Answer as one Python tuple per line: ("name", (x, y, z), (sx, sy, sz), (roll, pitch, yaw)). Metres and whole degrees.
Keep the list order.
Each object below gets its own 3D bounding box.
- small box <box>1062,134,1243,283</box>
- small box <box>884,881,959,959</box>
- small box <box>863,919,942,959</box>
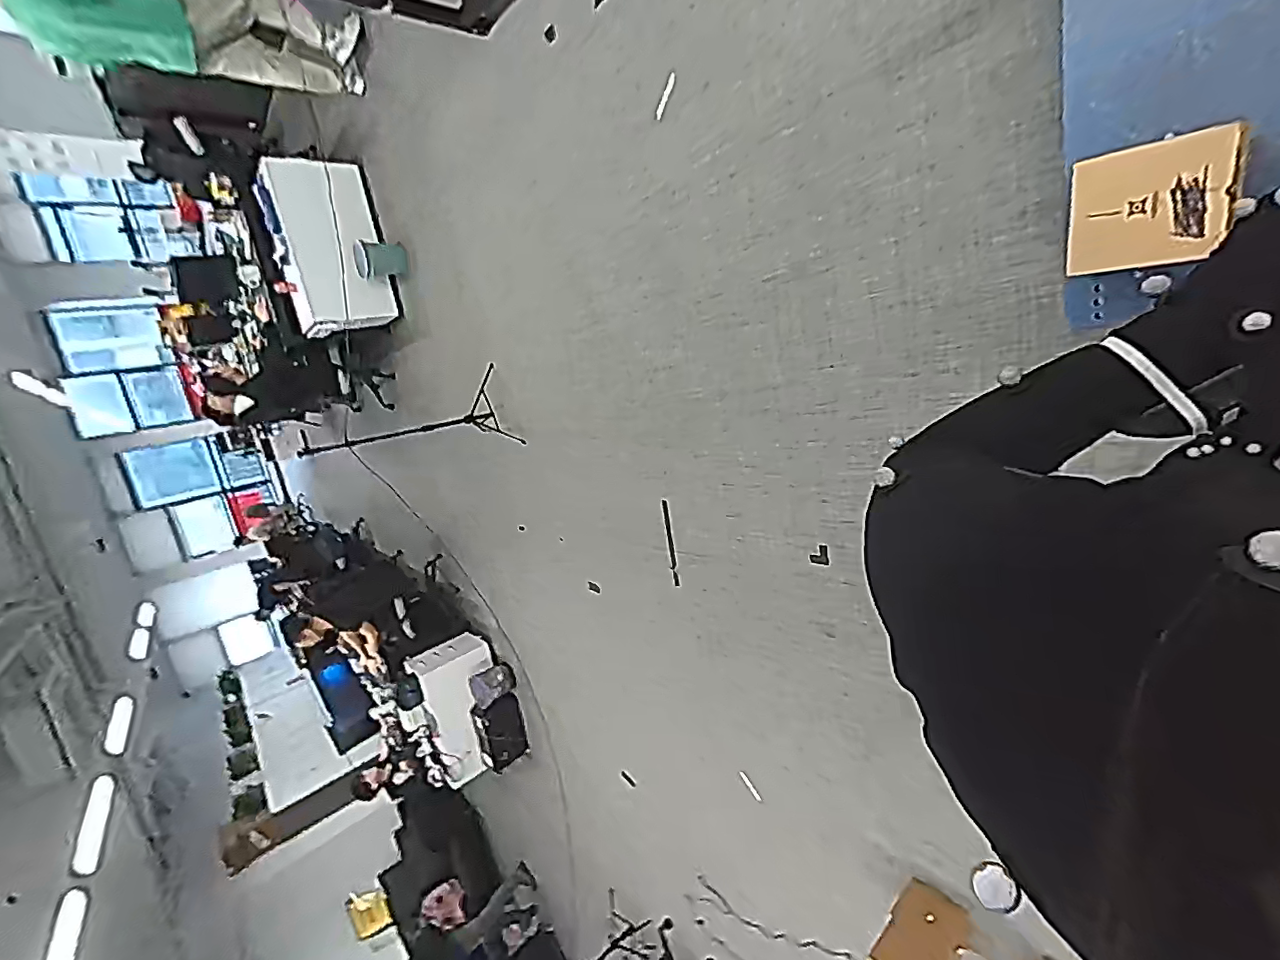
("small box", (0.782, -0.404, 0.829), (0.179, 0.176, 0.168), (11, 113, 48))
("small box", (0.927, 1.480, 1.776), (0.179, 0.176, 0.168), (9, 112, 48))
("small box", (0.810, 1.524, 1.667), (0.179, 0.176, 0.168), (12, 115, 48))
